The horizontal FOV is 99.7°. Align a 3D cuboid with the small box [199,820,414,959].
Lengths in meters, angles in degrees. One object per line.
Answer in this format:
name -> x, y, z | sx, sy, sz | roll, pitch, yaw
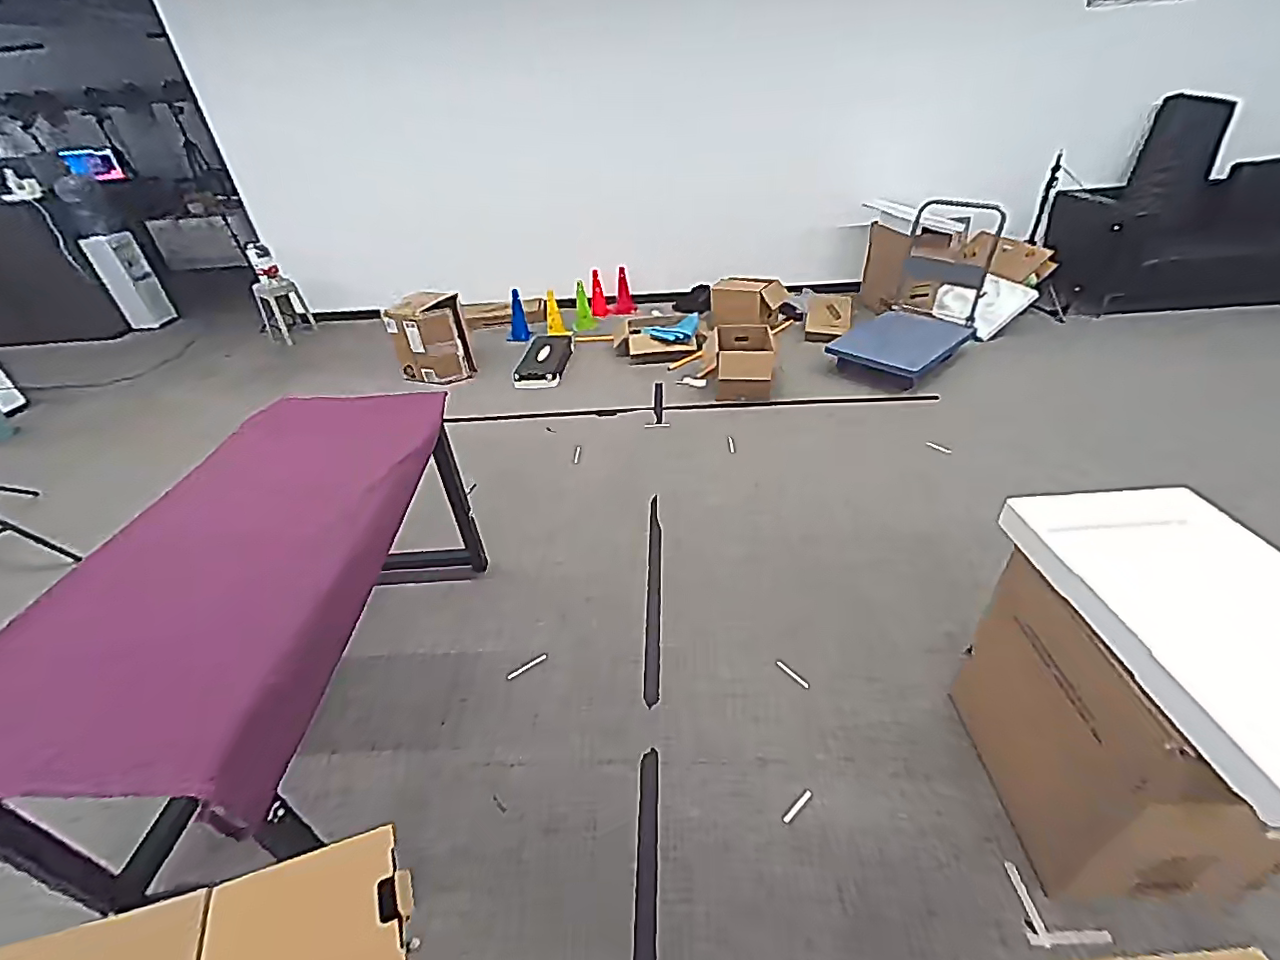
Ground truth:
small box -> -0.338, 0.514, 0.567 | 0.179, 0.176, 0.168 | -7, 30, -27
